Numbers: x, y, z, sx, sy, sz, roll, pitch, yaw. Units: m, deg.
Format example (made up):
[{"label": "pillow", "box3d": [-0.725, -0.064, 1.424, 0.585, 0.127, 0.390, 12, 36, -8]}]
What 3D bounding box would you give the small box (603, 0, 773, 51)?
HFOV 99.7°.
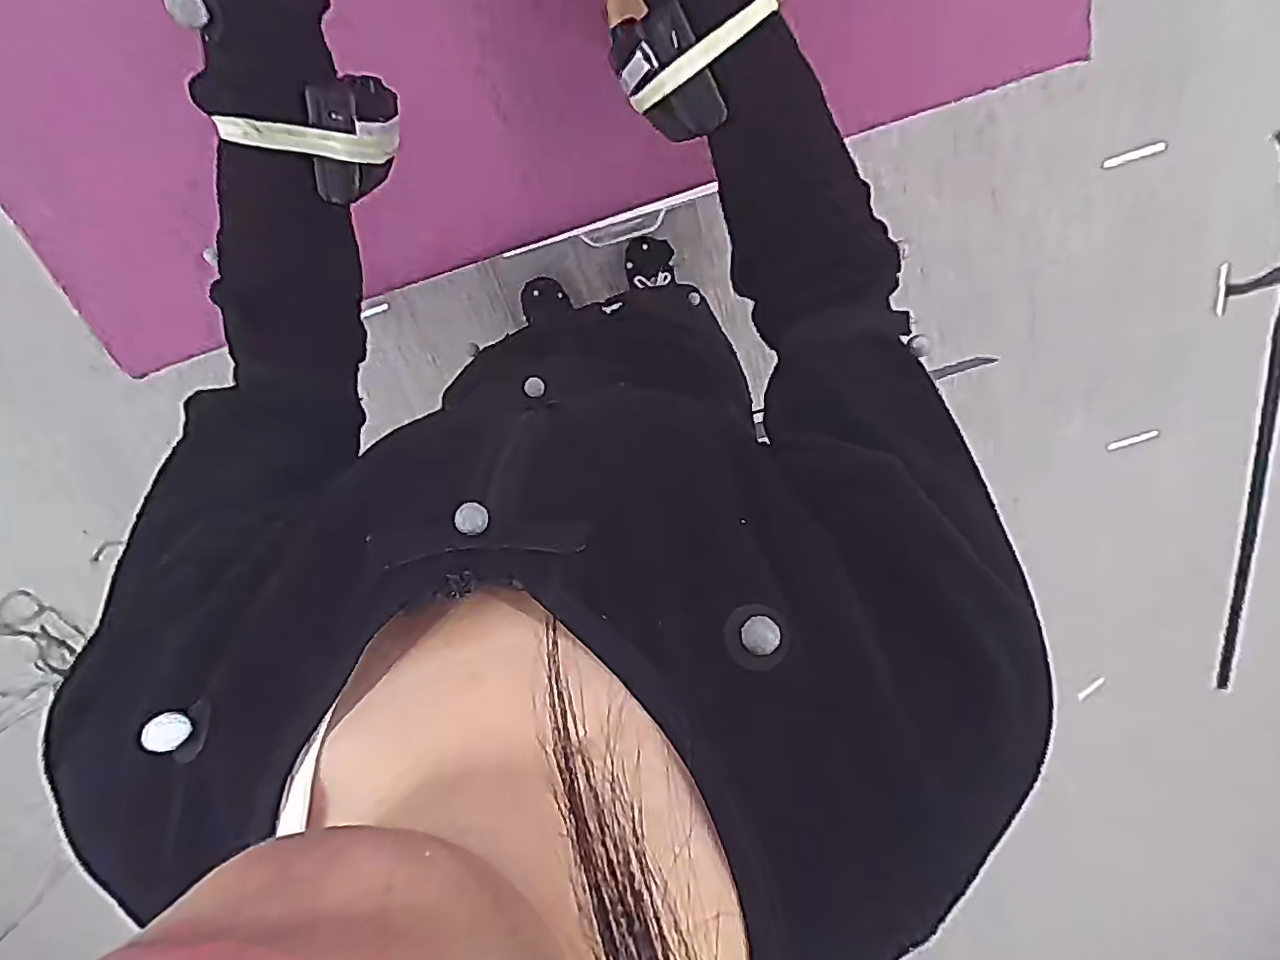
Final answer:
[{"label": "small box", "box3d": [0.040, -0.526, 0.479, 0.168, 0.176, 0.179, -10, 113, 0]}]
